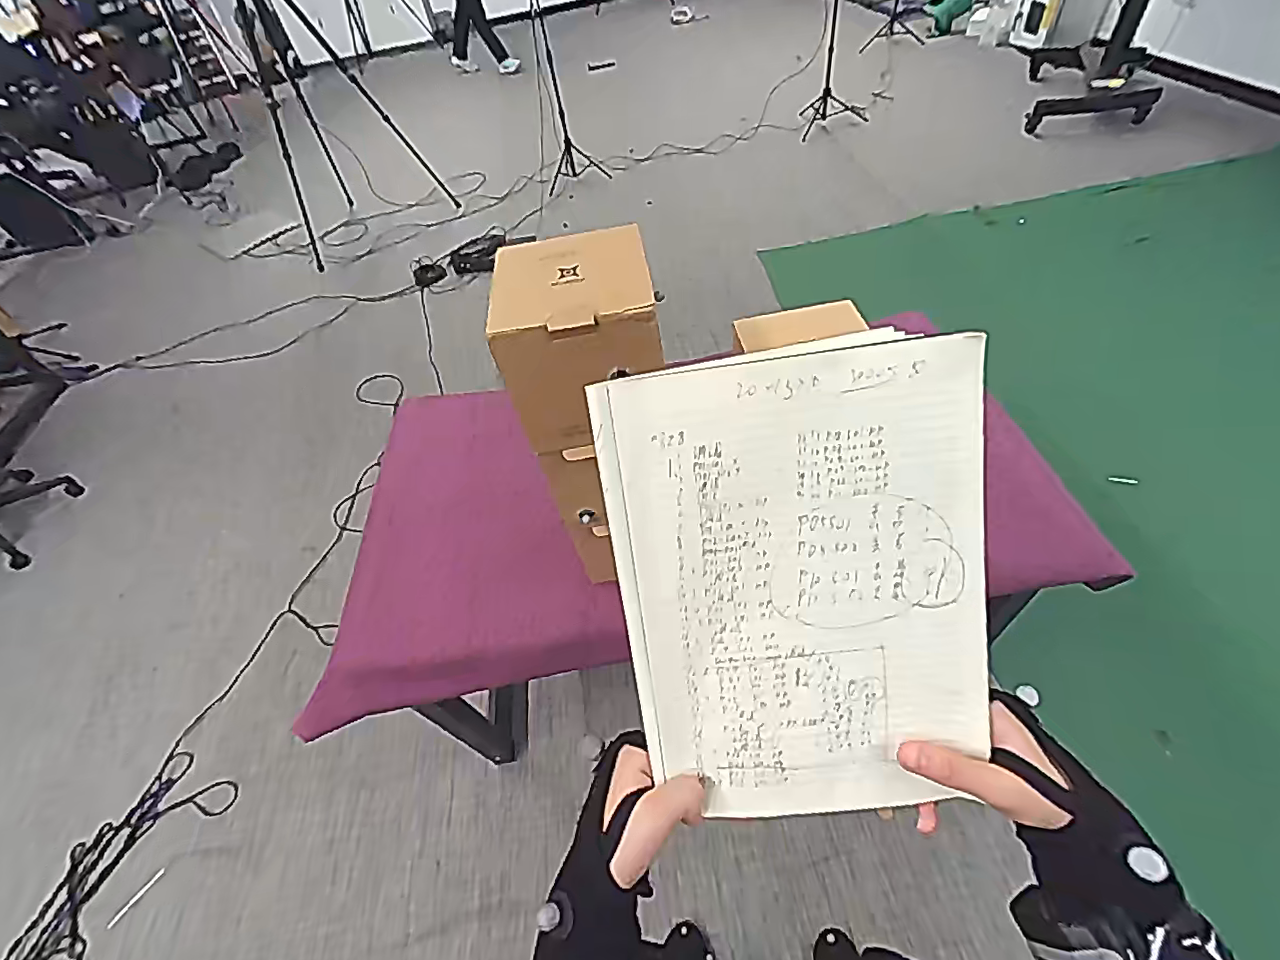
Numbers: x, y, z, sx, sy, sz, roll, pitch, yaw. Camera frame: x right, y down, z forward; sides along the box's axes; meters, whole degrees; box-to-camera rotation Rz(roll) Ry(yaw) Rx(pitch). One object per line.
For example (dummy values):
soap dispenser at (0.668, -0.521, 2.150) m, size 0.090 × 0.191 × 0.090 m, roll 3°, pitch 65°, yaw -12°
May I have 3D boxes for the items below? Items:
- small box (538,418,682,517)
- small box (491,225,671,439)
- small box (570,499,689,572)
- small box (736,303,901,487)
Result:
small box at (-0.038, -0.063, 0.755) m, size 0.168 × 0.176 × 0.179 m, roll -10°, pitch 49°, yaw 2°
small box at (-0.059, -0.162, 0.627) m, size 0.168 × 0.176 × 0.179 m, roll -8°, pitch 49°, yaw 2°
small box at (-0.016, 0.037, 0.885) m, size 0.168 × 0.176 × 0.179 m, roll -9°, pitch 50°, yaw 2°
small box at (0.230, -0.116, 0.752) m, size 0.168 × 0.176 × 0.179 m, roll -9°, pitch 49°, yaw 2°
